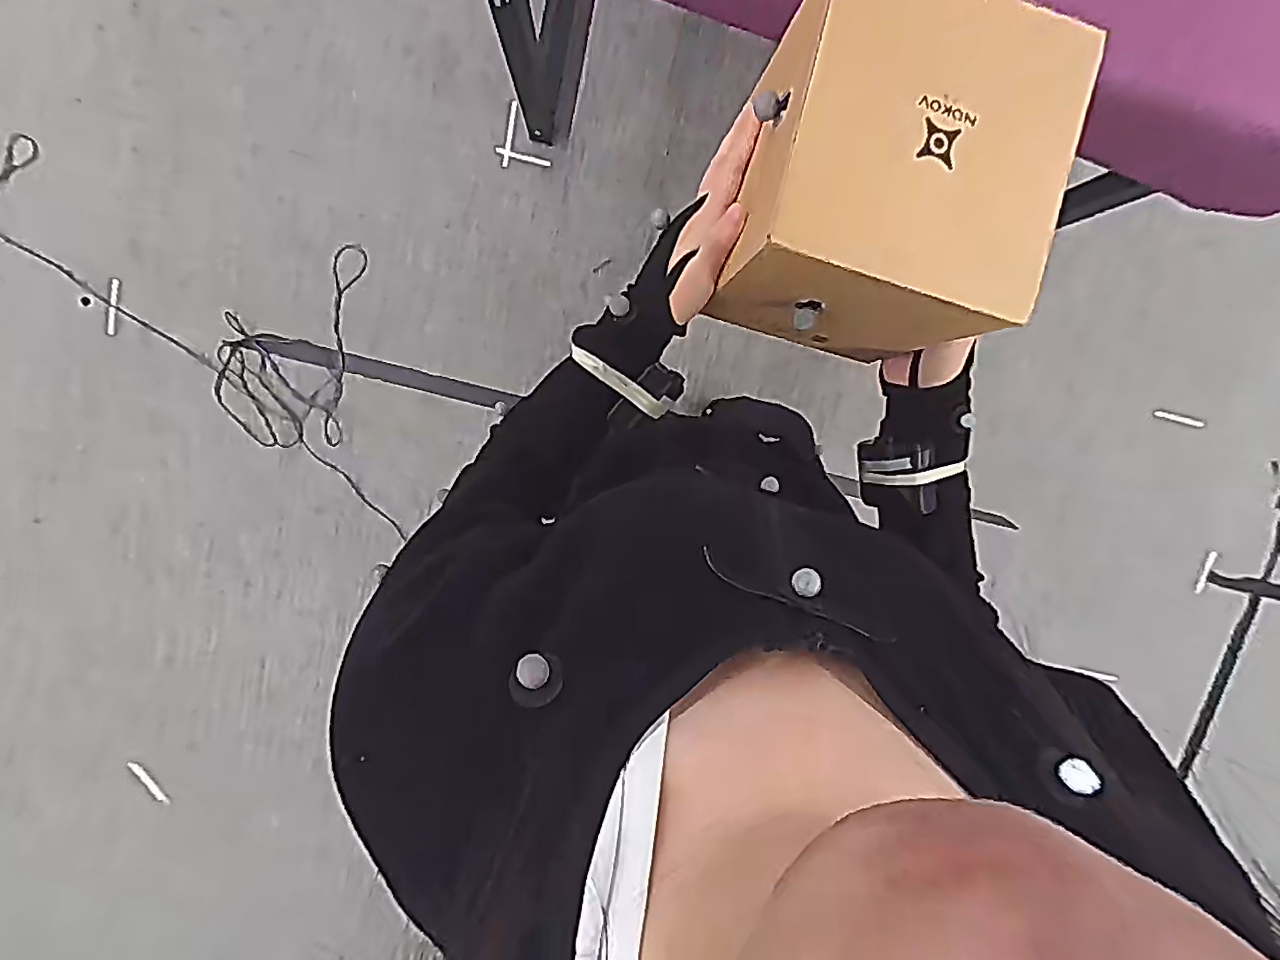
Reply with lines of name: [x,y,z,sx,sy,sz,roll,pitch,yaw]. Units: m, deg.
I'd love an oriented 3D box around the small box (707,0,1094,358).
small box: [0.157,-0.199,0.387,0.168,0.176,0.179,14,91,-9]
